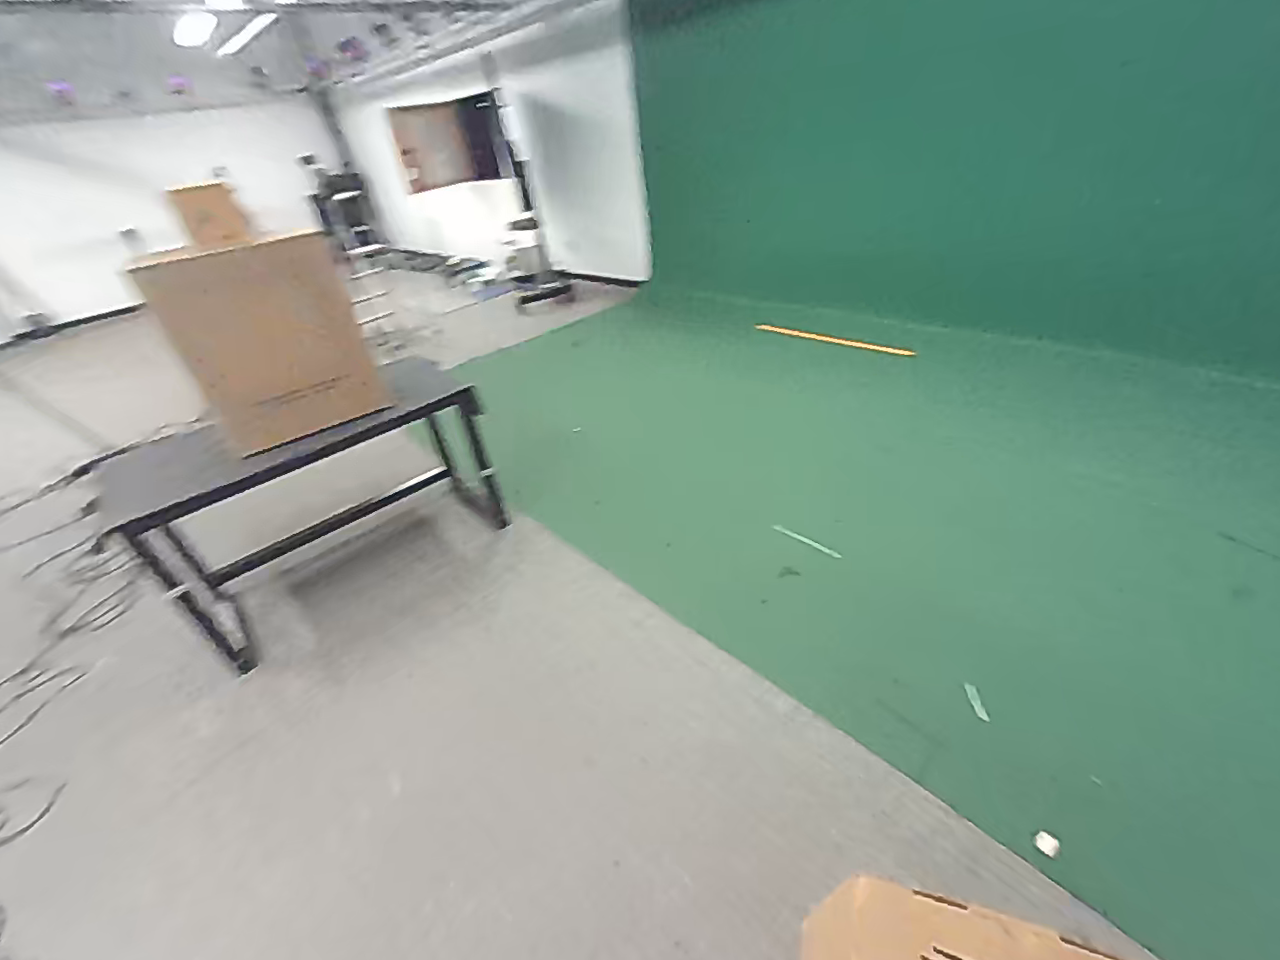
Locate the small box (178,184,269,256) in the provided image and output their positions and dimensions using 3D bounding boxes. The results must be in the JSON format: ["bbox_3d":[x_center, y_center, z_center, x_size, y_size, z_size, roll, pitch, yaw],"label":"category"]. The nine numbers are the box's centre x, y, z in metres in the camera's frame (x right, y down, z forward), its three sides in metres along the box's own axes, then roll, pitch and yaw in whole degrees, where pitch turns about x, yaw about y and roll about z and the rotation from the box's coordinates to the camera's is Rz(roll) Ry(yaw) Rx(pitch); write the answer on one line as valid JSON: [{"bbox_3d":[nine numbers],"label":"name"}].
[{"bbox_3d":[-1.270,-0.796,1.660,0.168,0.176,0.179,-25,38,-23],"label":"small box"}]
